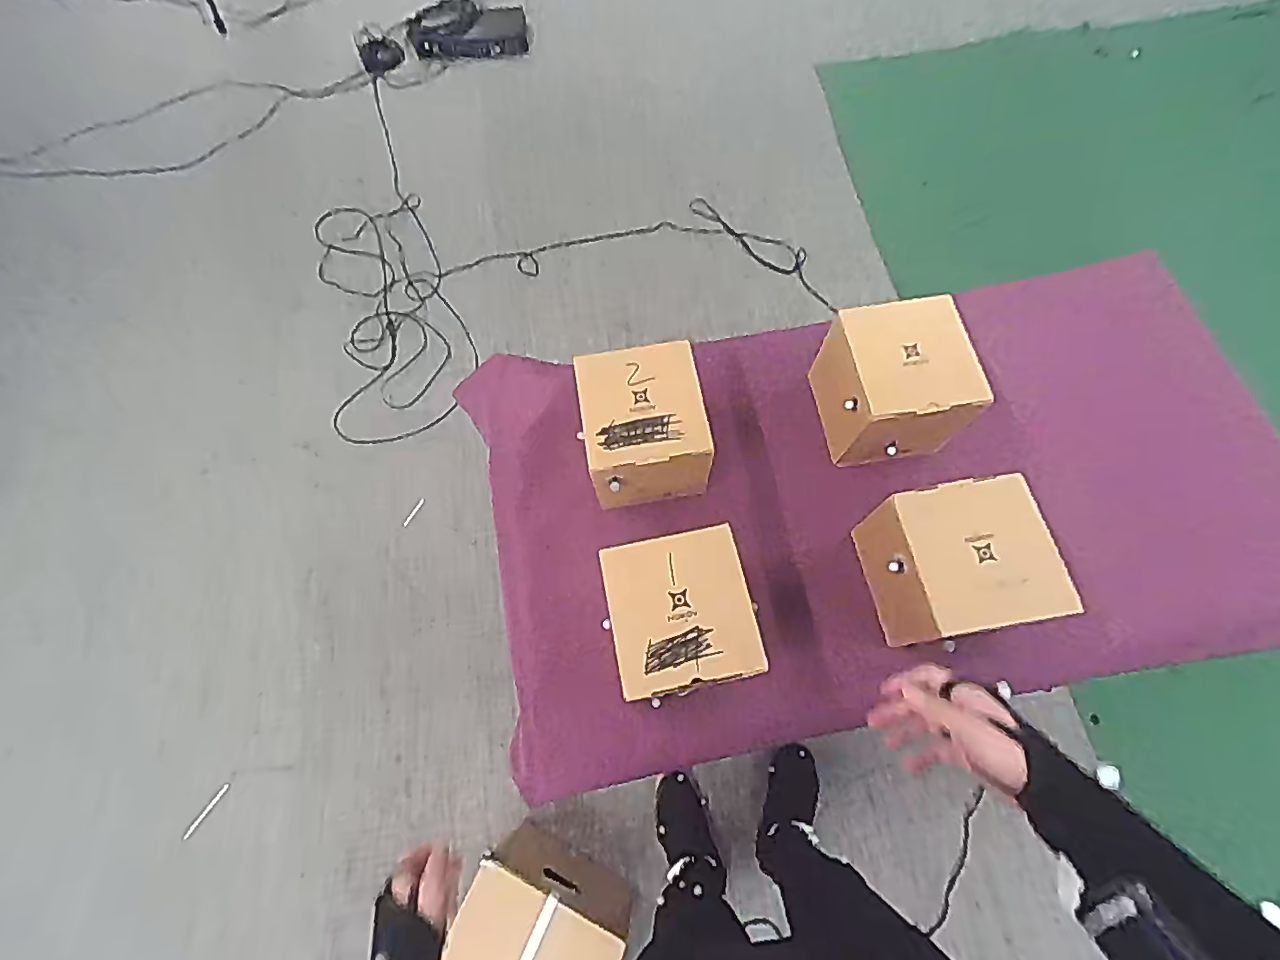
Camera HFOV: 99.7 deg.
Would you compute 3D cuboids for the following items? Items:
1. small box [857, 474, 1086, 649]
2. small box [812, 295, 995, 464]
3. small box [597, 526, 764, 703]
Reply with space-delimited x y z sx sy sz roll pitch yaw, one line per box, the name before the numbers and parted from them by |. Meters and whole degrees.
small box | 0.404 0.112 0.700 0.168 0.176 0.179 -9 68 0
small box | 0.370 -0.141 0.800 0.168 0.176 0.179 -9 70 -1
small box | 0.047 0.177 0.691 0.168 0.176 0.179 -11 67 -2
